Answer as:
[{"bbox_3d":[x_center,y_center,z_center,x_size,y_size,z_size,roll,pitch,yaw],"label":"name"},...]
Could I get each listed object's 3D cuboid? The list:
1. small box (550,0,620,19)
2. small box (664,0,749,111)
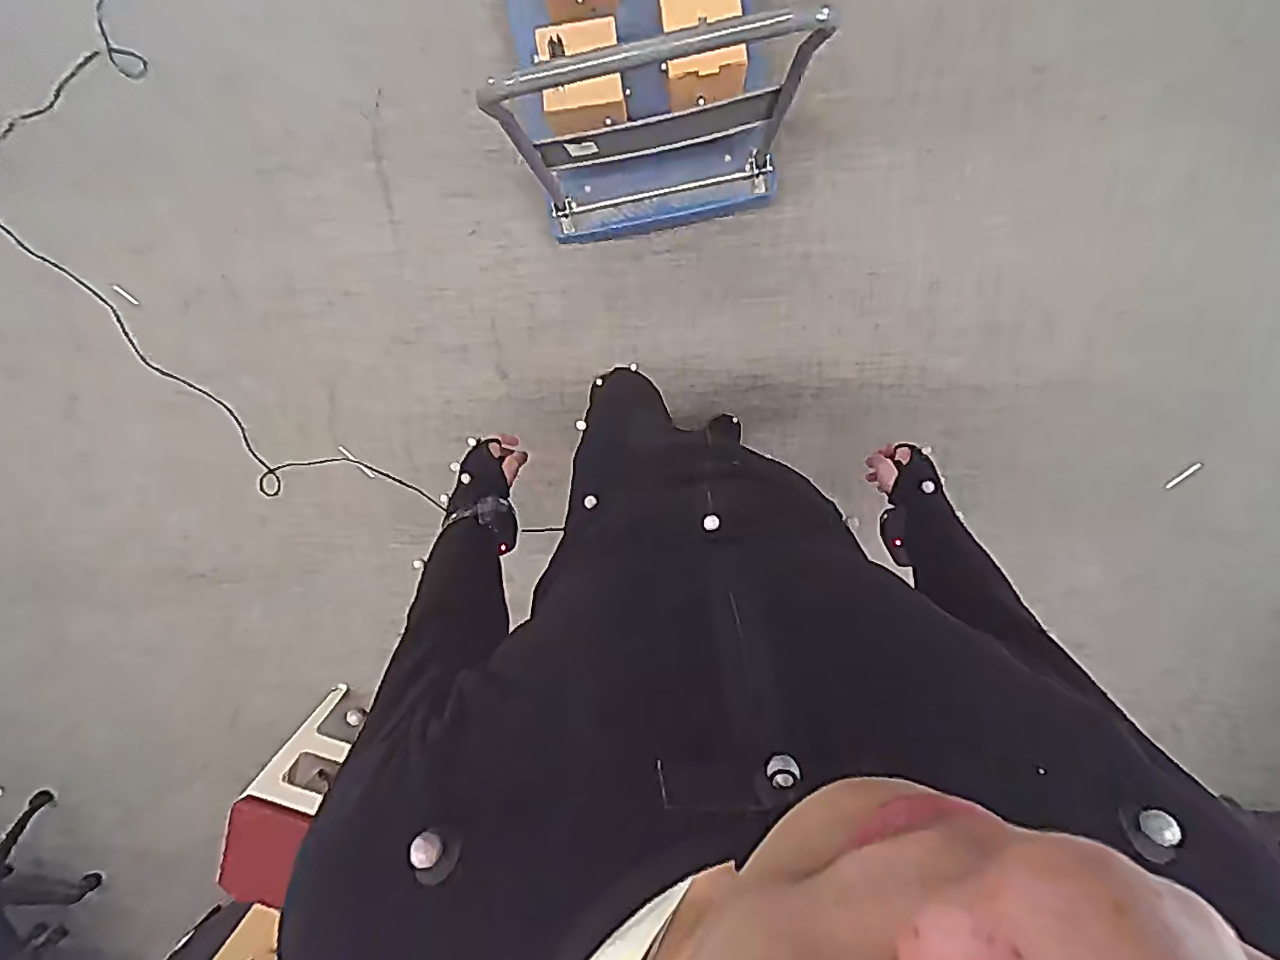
[{"bbox_3d":[-0.145,-1.186,1.209,0.168,0.176,0.179,-13,98,6],"label":"small box"},{"bbox_3d":[0.145,-0.978,1.218,0.168,0.176,0.179,-8,99,6],"label":"small box"}]
